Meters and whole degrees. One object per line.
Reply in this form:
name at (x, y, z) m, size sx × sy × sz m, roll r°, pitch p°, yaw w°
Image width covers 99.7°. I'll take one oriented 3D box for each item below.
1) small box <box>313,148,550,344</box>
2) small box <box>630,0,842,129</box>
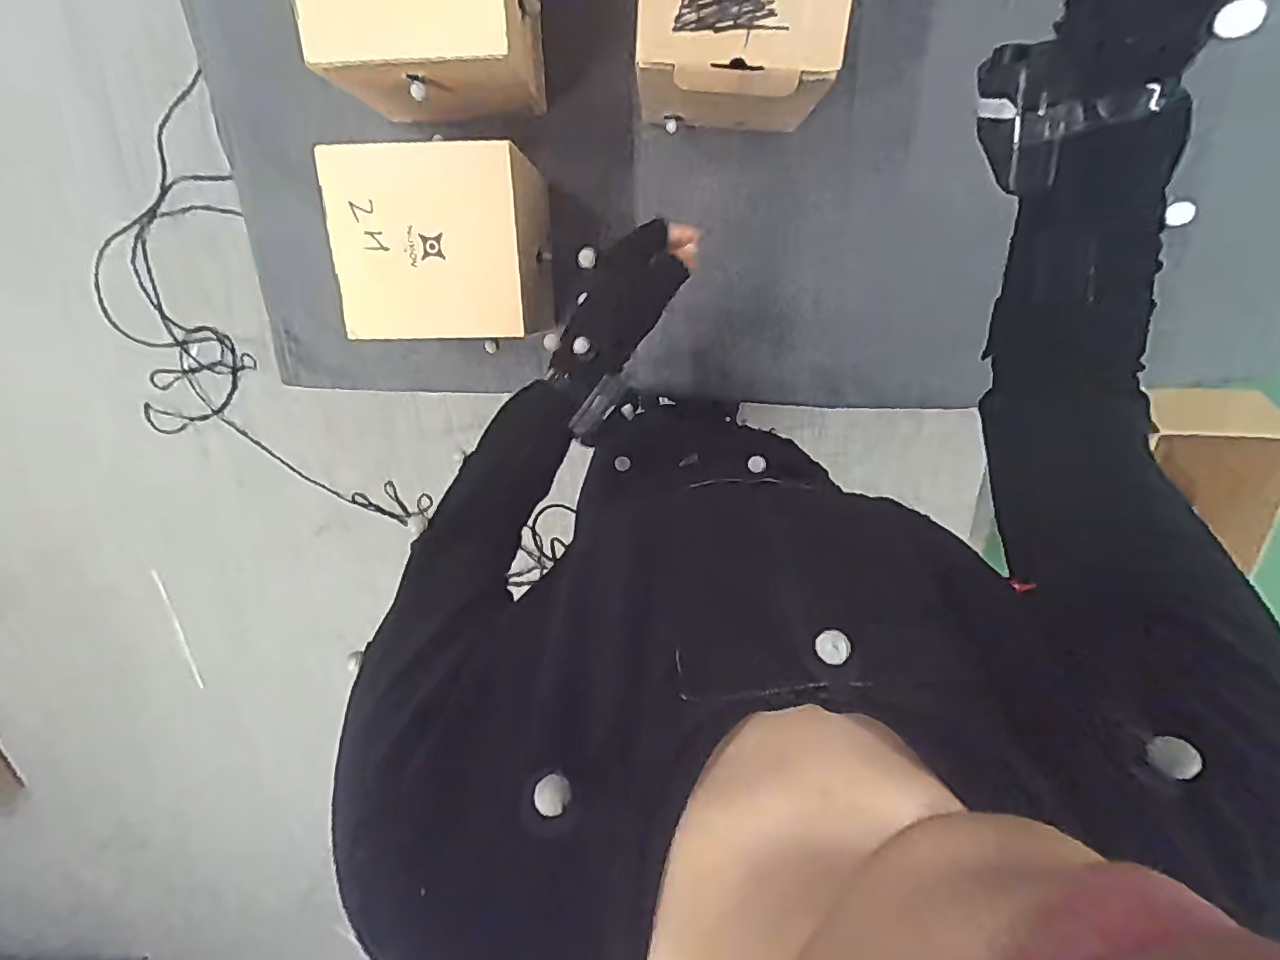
small box at (-0.195, -0.234, 0.566) m, size 0.179 × 0.176 × 0.168 m, roll 0°, pitch 108°, yaw 3°
small box at (0.083, -0.436, 0.483) m, size 0.168 × 0.176 × 0.179 m, roll 4°, pitch 109°, yaw 1°
